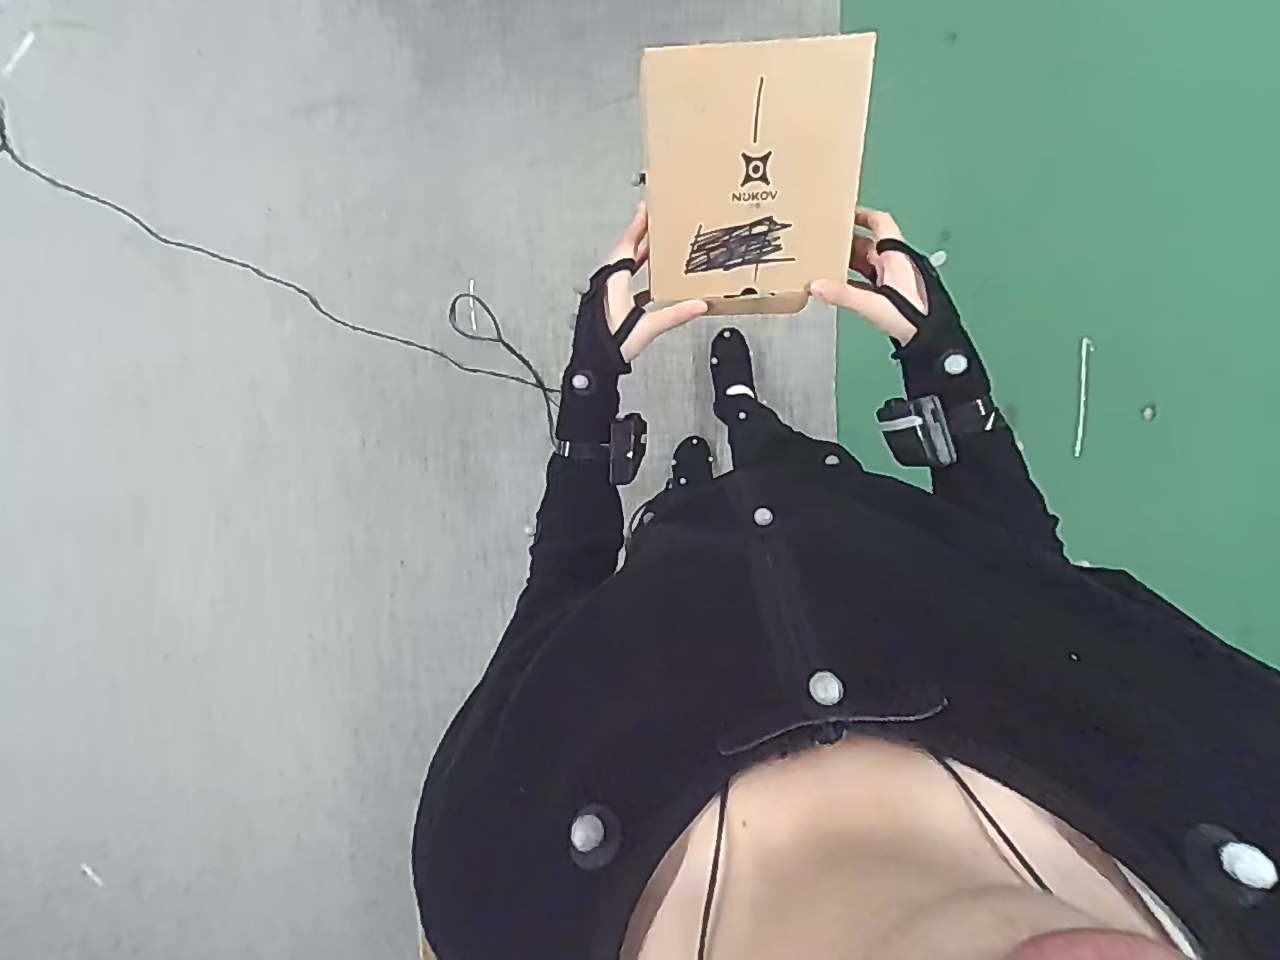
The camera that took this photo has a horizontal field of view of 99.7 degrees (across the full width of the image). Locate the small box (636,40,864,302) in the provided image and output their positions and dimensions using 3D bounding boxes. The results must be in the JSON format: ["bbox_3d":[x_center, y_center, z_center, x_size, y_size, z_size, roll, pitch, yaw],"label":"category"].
[{"bbox_3d":[0.083,-0.271,0.496,0.168,0.176,0.179,-3,117,1],"label":"small box"}]
